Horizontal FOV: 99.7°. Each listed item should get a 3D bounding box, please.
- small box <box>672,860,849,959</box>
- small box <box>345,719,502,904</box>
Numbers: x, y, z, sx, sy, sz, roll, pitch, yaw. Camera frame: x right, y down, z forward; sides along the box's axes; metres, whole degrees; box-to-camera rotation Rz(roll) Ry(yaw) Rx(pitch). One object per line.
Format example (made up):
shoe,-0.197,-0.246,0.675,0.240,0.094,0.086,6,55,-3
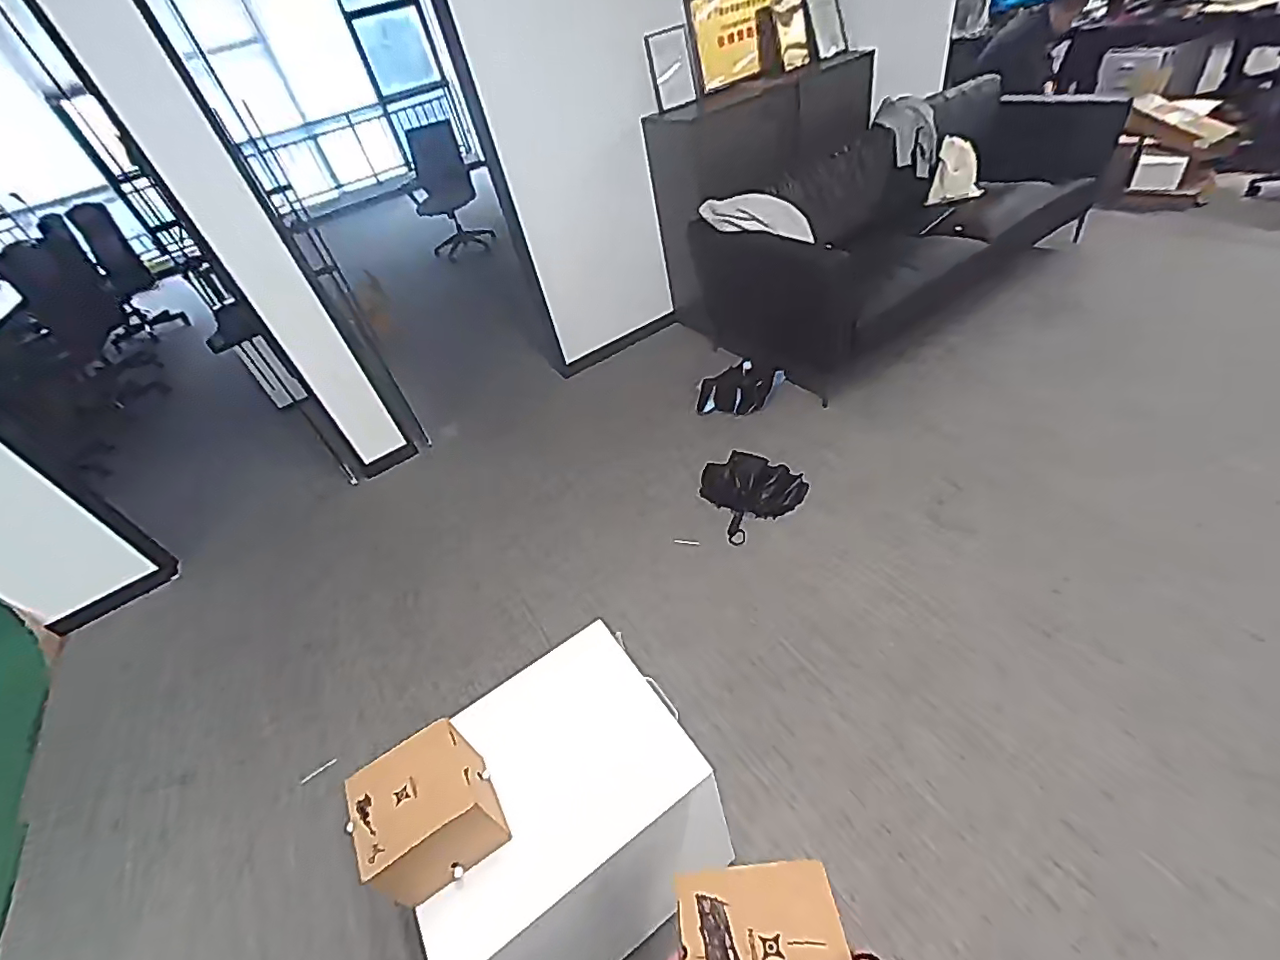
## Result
small box,0.132,0.554,0.585,0.179,0.176,0.168,-5,21,3
small box,-0.341,0.537,0.879,0.179,0.176,0.168,-29,43,-18
